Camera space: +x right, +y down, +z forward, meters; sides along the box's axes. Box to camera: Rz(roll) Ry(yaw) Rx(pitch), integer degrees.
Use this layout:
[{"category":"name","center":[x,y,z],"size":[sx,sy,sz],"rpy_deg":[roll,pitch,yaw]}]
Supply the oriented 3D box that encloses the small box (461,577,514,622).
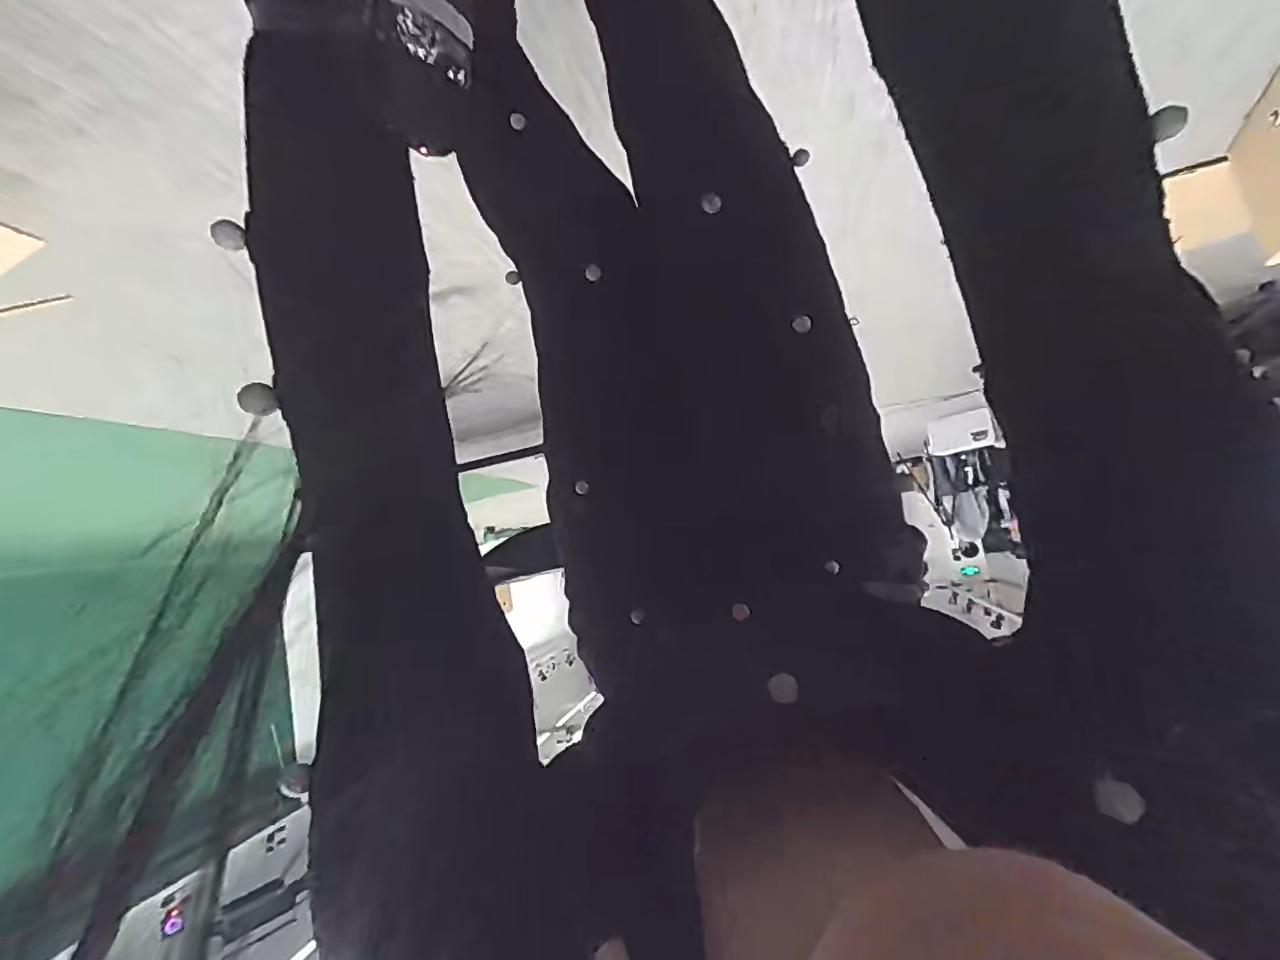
[{"category":"small box","center":[-0.711,0.554,2.524],"size":[0.168,0.176,0.179],"rpy_deg":[-13,173,17]}]
